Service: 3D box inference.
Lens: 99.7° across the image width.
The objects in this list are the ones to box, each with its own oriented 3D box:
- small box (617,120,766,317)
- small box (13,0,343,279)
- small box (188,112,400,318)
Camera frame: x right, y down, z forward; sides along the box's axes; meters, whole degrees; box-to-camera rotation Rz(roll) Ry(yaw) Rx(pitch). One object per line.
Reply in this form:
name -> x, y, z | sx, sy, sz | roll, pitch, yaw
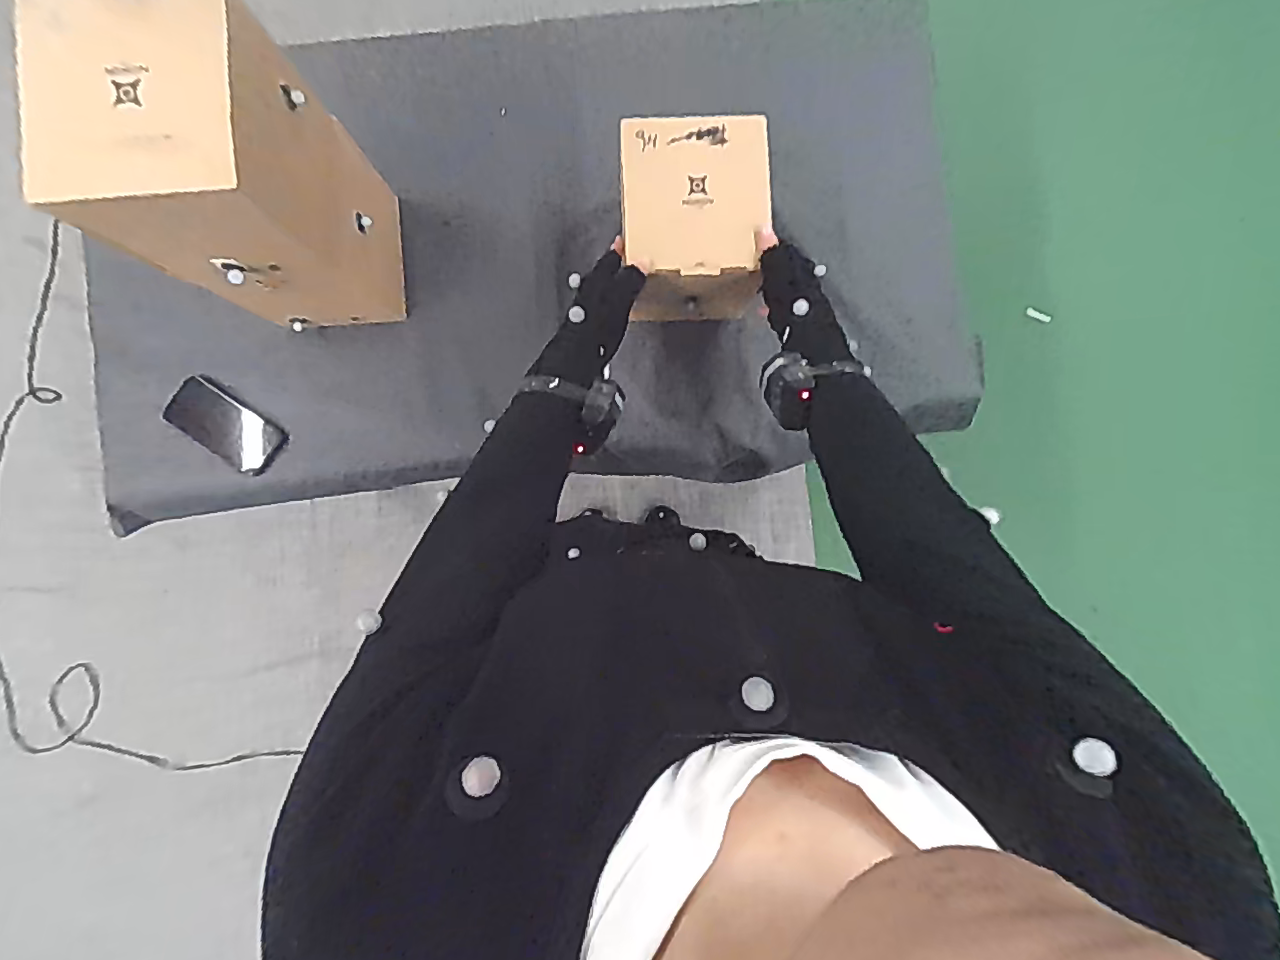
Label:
small box -> 0.057, -0.312, 0.680 | 0.168, 0.176, 0.179 | -2, 88, -1
small box -> -0.404, -0.309, 0.503 | 0.168, 0.176, 0.179 | -5, 89, -1
small box -> -0.411, -0.308, 0.665 | 0.168, 0.176, 0.179 | -4, 87, -2
